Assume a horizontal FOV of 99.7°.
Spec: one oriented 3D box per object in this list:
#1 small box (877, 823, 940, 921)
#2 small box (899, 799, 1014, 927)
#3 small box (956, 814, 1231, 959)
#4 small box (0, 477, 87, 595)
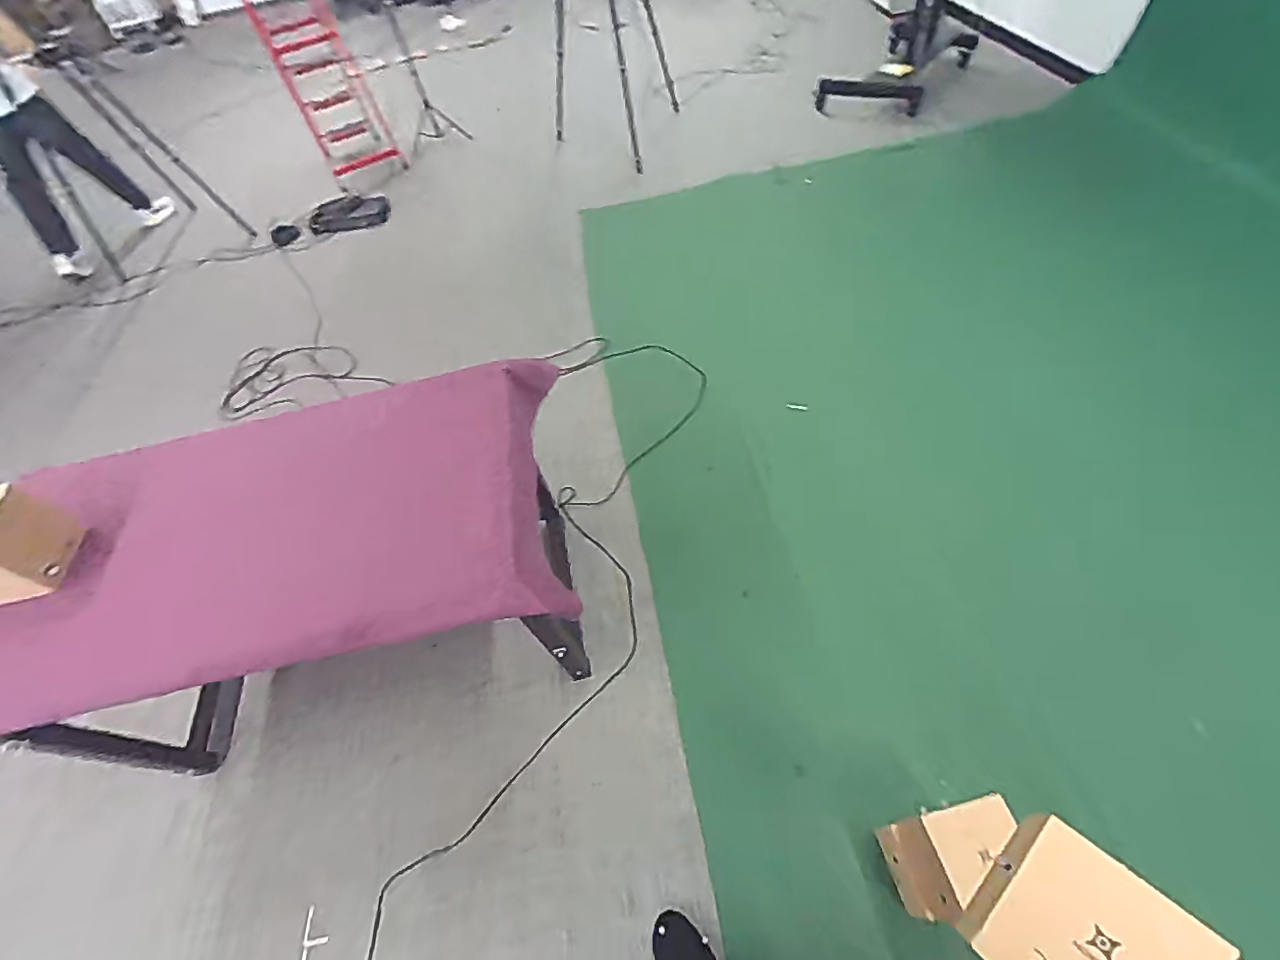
[{"bbox_3d":[0.641,0.837,1.178,0.179,0.176,0.168,-13,54,-2],"label":"small box"},{"bbox_3d":[0.637,0.740,1.046,0.168,0.176,0.179,-13,53,-2],"label":"small box"},{"bbox_3d":[0.487,0.517,0.614,0.179,0.176,0.168,-48,52,-10],"label":"small box"},{"bbox_3d":[-1.294,0.121,1.086,0.179,0.176,0.168,-13,54,1],"label":"small box"}]
